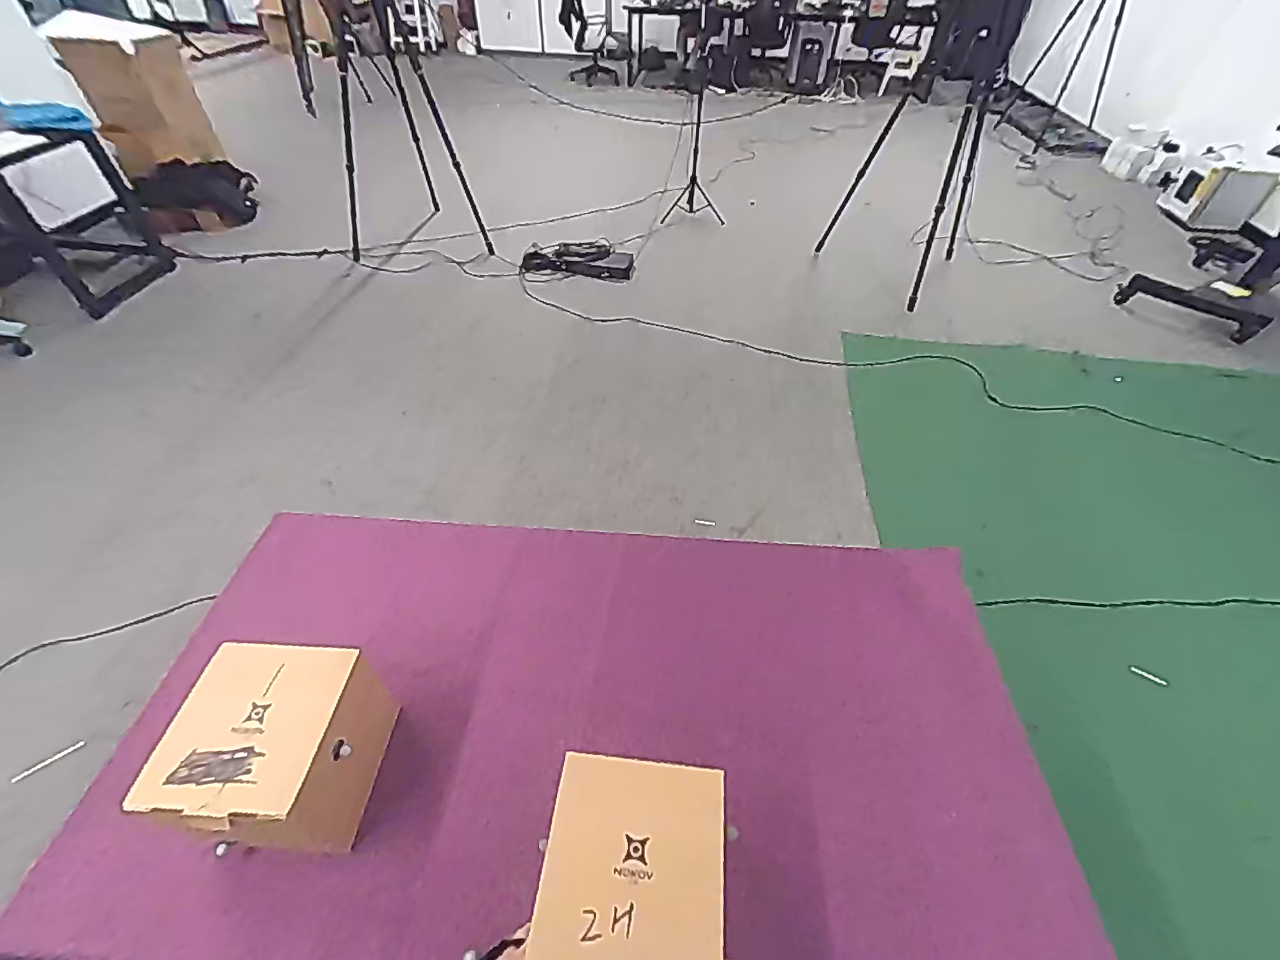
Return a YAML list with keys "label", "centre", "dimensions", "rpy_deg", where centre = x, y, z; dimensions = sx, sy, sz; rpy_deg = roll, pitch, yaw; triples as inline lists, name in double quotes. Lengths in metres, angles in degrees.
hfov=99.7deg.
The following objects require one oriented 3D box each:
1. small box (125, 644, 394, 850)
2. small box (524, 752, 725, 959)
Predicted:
- label: "small box"
  centre: [-0.416, 0.315, 0.635]
  dimensions: [0.168, 0.176, 0.179]
  rpy_deg: [3, 45, 1]
- label: "small box"
  centre: [-0.006, 0.408, 0.552]
  dimensions: [0.168, 0.176, 0.179]
  rpy_deg: [4, 45, 6]
